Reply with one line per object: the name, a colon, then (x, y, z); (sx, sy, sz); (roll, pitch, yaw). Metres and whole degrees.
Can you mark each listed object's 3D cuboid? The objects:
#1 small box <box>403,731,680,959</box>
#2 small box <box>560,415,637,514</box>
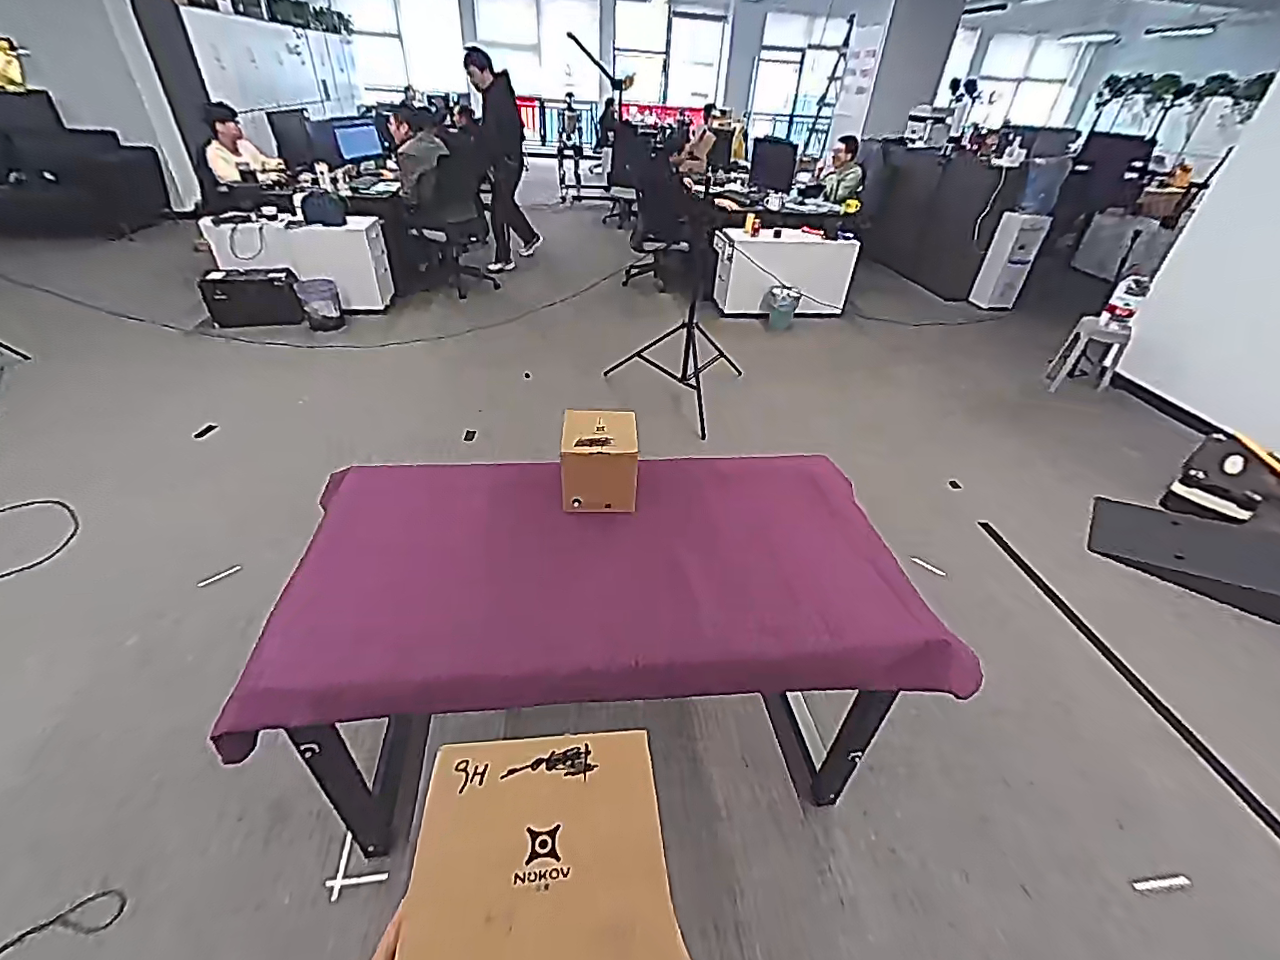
small box: (-0.066, 0.321, 0.404); (0.168, 0.176, 0.179); (-1, 33, -8)
small box: (-0.093, -0.035, 1.252); (0.168, 0.176, 0.179); (1, 37, -5)
